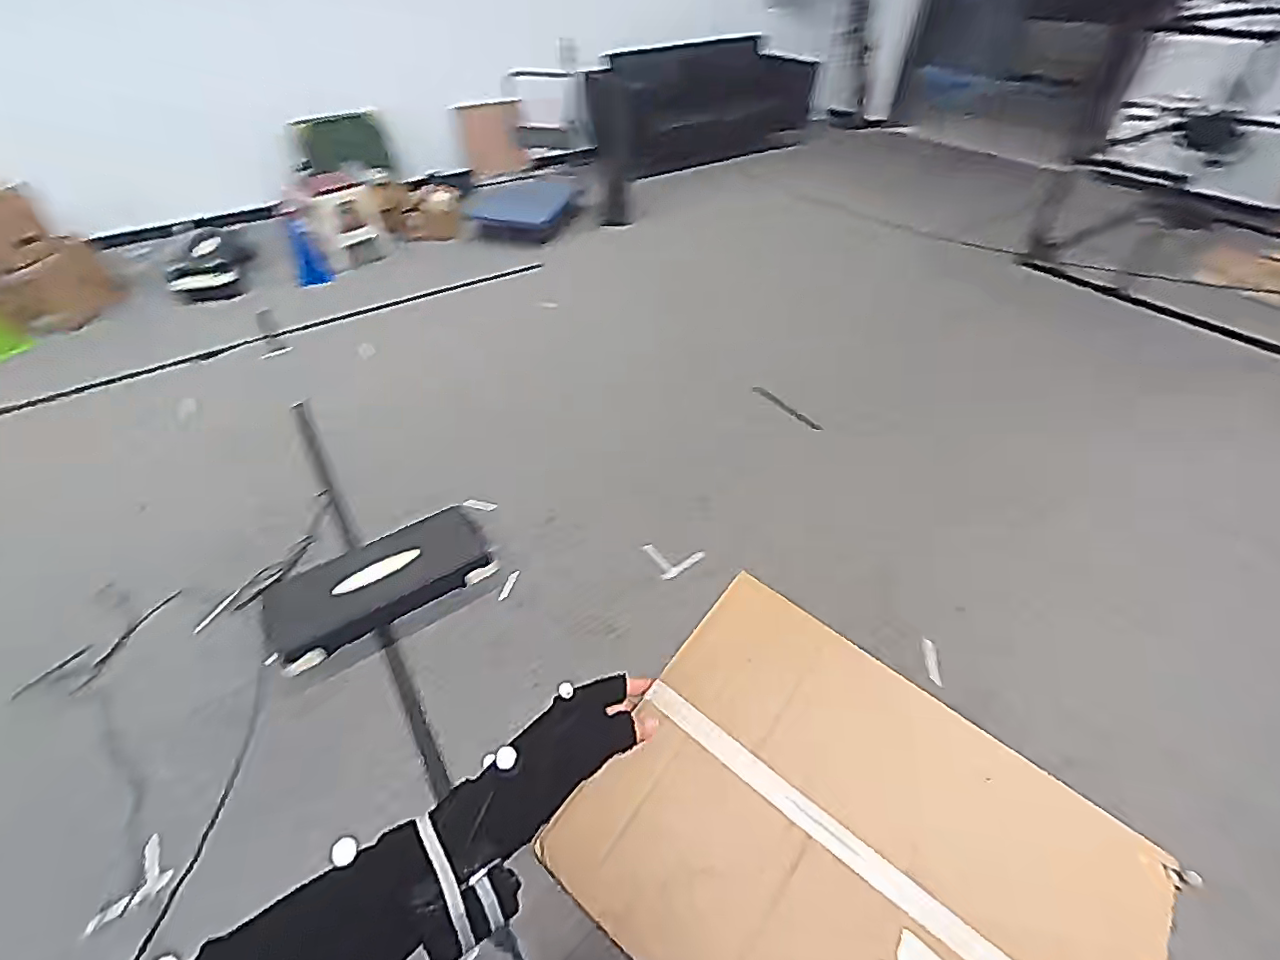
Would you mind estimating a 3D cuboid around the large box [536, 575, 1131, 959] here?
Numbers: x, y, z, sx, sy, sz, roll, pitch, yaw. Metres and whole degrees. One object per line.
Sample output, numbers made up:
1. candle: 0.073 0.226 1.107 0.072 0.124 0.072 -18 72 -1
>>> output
1. large box: 0.155 0.378 0.557 0.408 0.320 0.320 32 58 20
